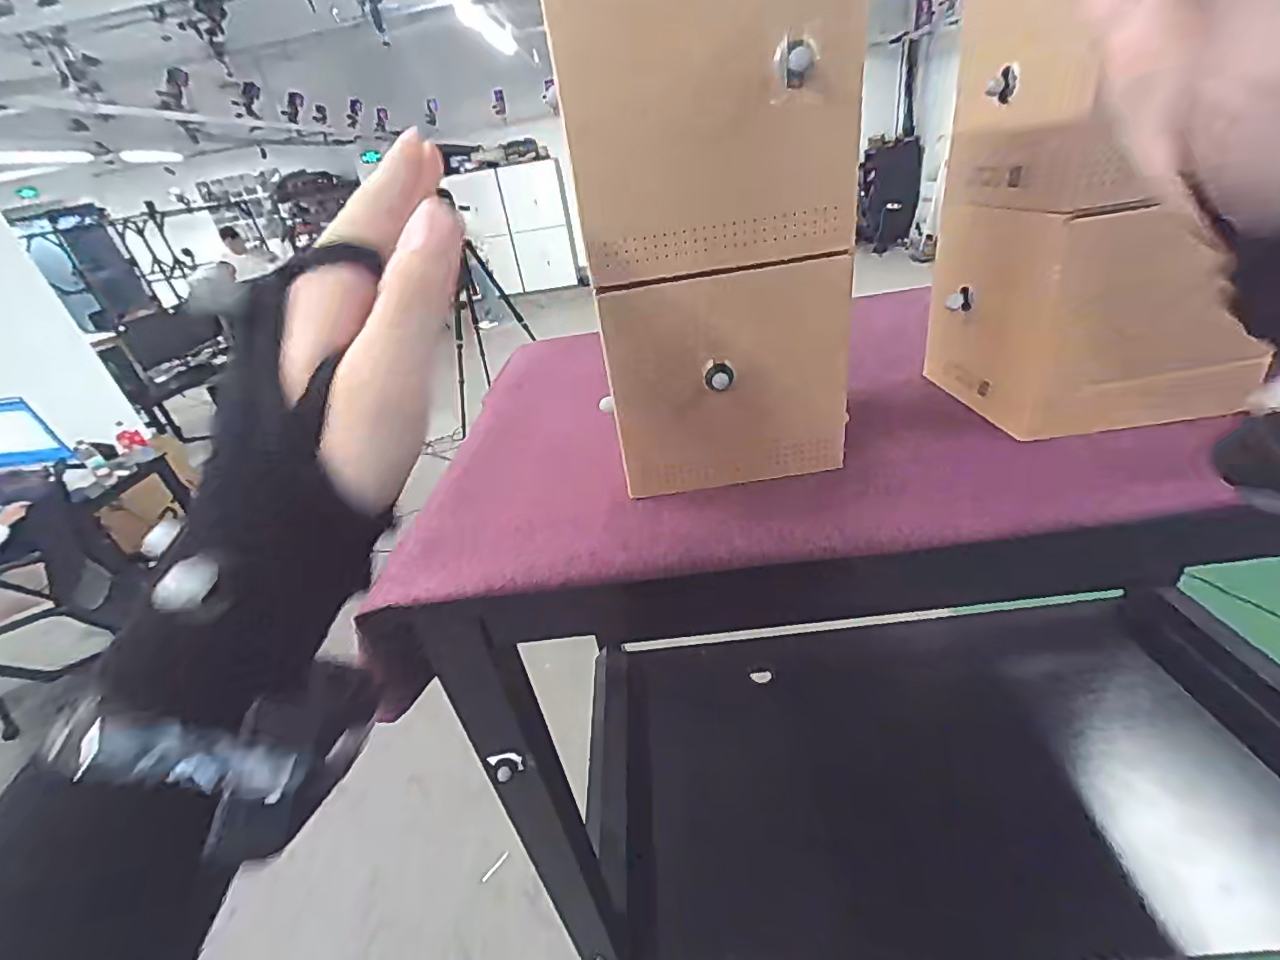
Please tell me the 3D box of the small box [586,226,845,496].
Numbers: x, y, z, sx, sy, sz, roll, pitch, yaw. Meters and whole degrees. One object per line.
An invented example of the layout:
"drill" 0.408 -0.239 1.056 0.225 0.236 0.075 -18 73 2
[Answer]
"small box" 0.058 -0.105 0.464 0.179 0.176 0.168 -9 30 2

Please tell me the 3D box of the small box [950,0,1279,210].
"small box" 0.340 -0.291 0.372 0.179 0.176 0.168 -7 30 4

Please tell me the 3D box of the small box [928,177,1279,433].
"small box" 0.364 -0.149 0.452 0.179 0.176 0.168 -8 30 3
